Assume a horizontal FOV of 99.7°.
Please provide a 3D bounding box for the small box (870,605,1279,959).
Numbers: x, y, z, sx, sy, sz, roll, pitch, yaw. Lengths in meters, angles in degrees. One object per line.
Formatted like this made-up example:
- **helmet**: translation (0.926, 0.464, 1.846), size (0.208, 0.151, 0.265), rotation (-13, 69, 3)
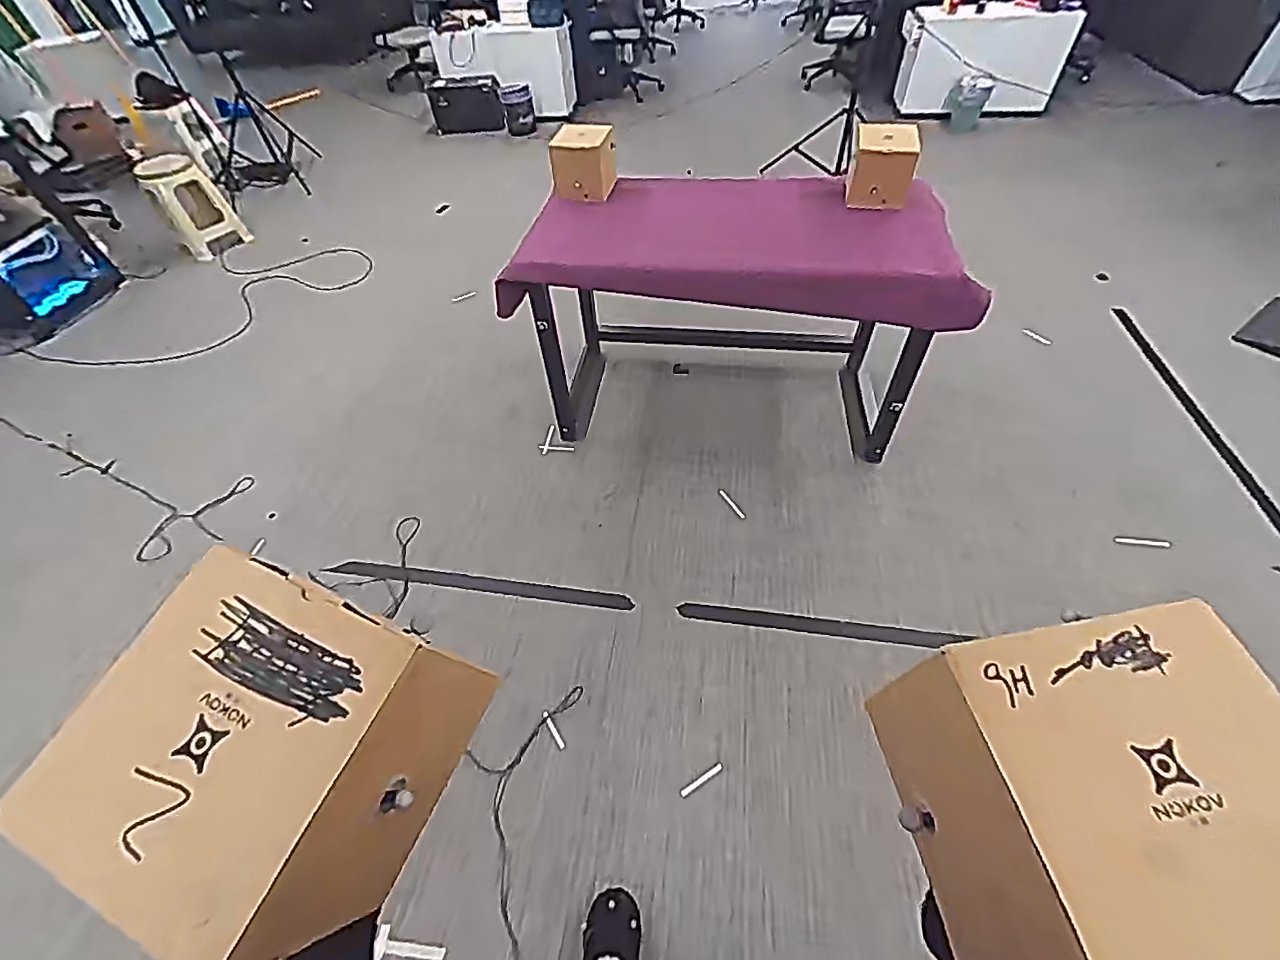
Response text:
- **small box**: translation (0.279, 0.202, 0.350), size (0.168, 0.176, 0.179), rotation (-10, 59, -2)

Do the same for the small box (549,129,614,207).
- **small box**: translation (-0.183, -1.019, 1.765), size (0.168, 0.176, 0.179), rotation (8, 53, 10)

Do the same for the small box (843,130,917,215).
- **small box**: translation (0.720, -0.932, 1.638), size (0.168, 0.176, 0.179), rotation (8, 55, 10)
